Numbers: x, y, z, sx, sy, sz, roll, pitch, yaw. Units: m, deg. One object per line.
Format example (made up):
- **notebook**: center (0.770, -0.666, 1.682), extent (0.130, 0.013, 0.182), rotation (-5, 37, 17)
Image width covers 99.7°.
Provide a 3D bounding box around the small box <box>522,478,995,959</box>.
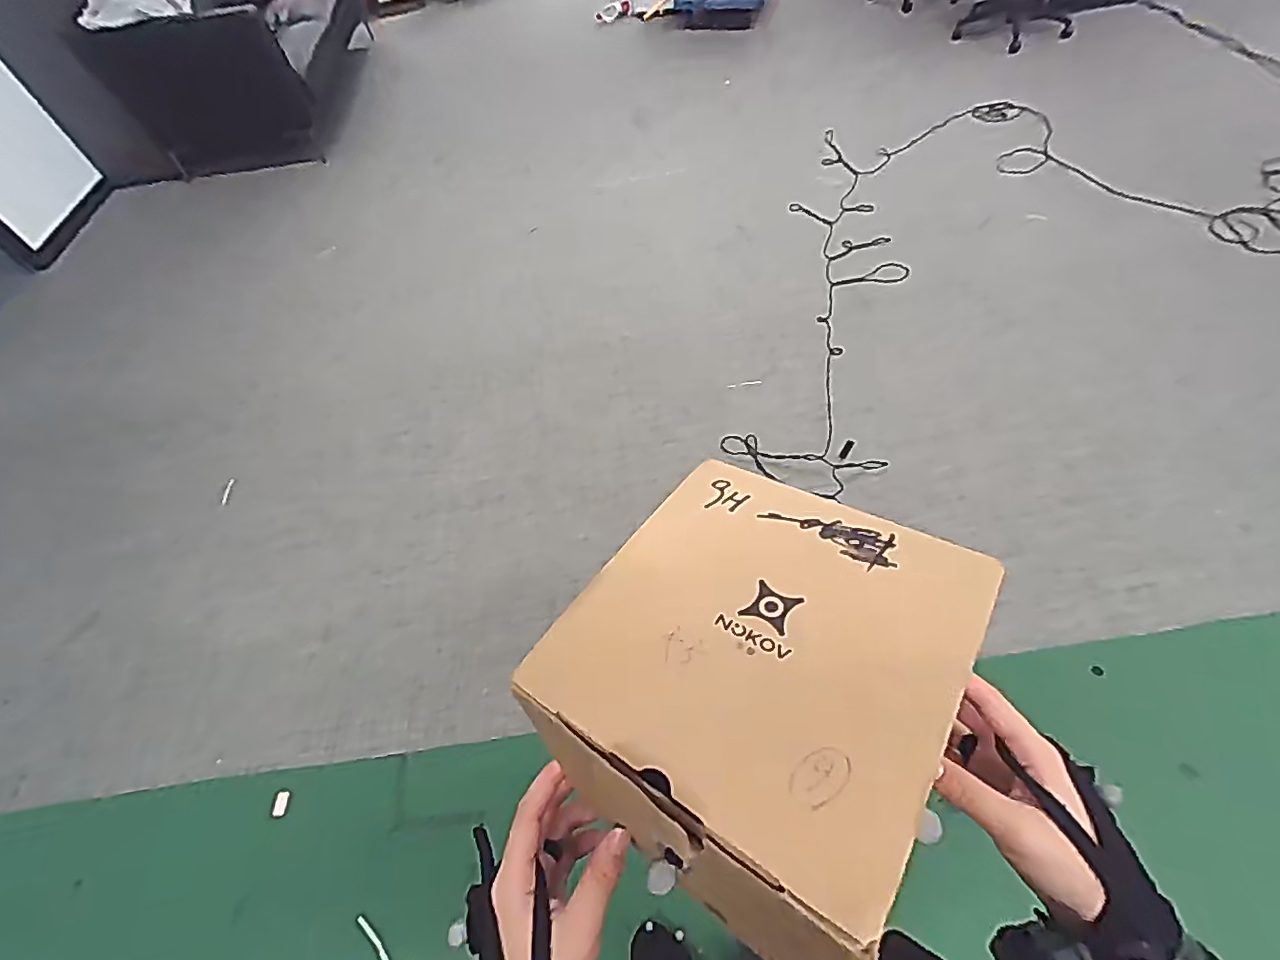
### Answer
- **small box**: center (0.069, 0.134, 0.310), extent (0.168, 0.176, 0.179), rotation (22, 51, 31)
